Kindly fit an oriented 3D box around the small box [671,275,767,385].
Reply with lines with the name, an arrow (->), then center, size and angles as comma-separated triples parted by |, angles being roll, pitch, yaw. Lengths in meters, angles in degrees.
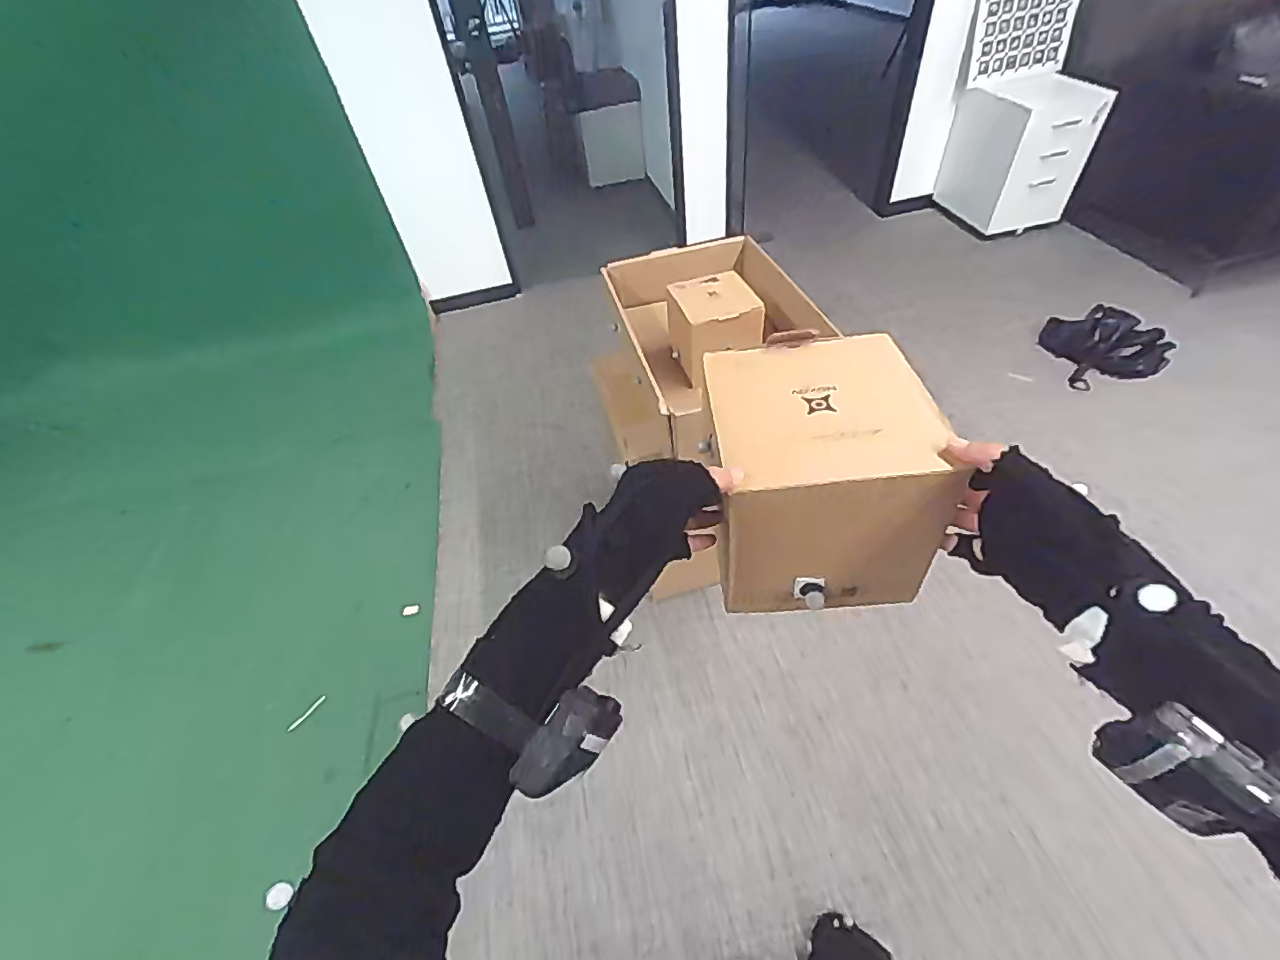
small box -> 0.176, -0.333, 1.226 | 0.168, 0.176, 0.179 | -14, 48, -6
